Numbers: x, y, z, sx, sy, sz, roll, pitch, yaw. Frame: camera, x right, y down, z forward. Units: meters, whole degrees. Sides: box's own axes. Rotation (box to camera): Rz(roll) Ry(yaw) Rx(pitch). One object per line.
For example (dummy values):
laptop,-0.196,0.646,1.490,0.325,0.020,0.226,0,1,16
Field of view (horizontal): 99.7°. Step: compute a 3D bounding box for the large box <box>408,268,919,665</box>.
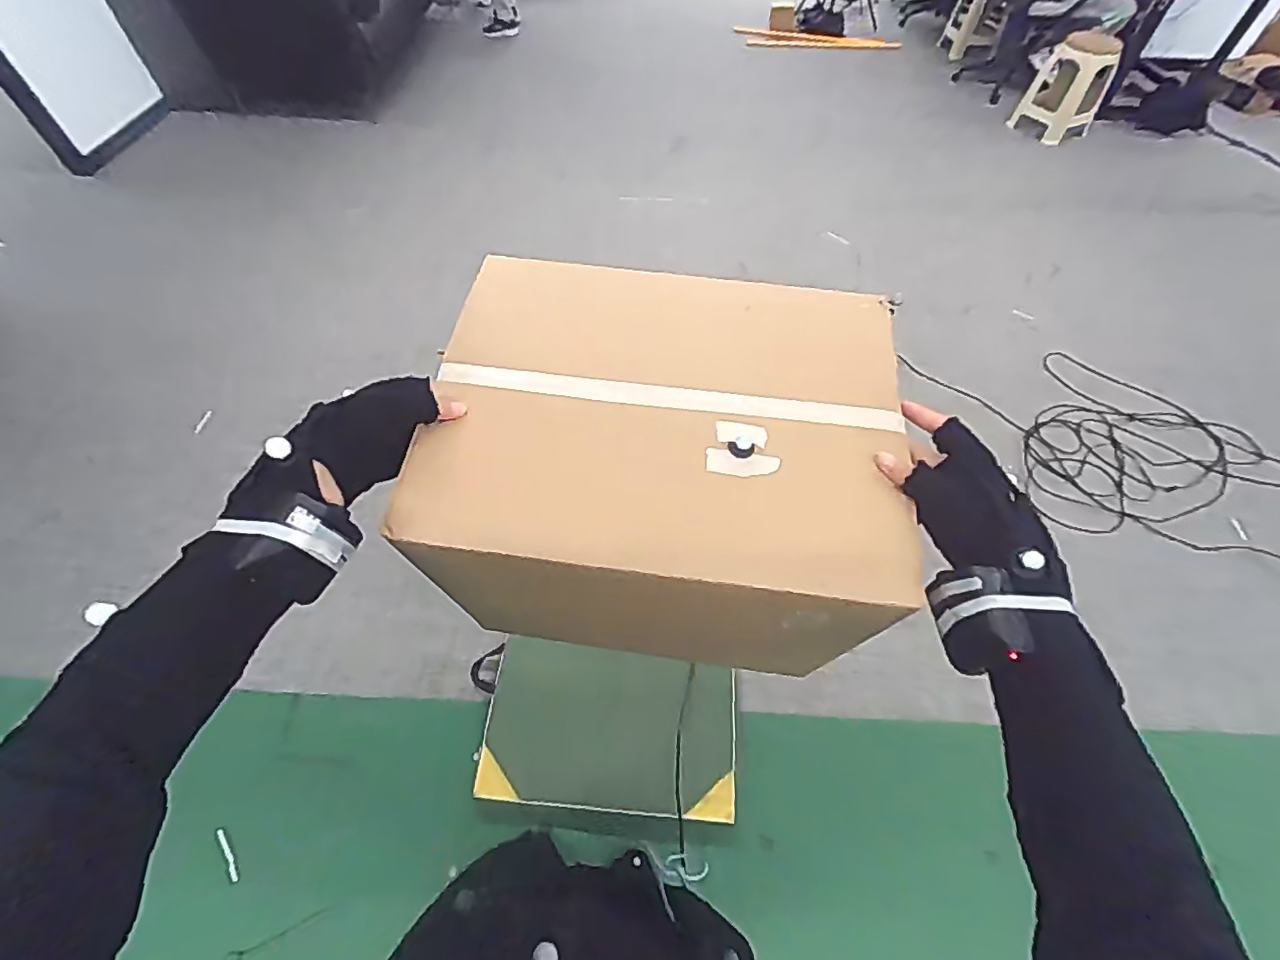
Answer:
large box,0.026,0.004,0.612,0.408,0.320,0.320,7,62,2
